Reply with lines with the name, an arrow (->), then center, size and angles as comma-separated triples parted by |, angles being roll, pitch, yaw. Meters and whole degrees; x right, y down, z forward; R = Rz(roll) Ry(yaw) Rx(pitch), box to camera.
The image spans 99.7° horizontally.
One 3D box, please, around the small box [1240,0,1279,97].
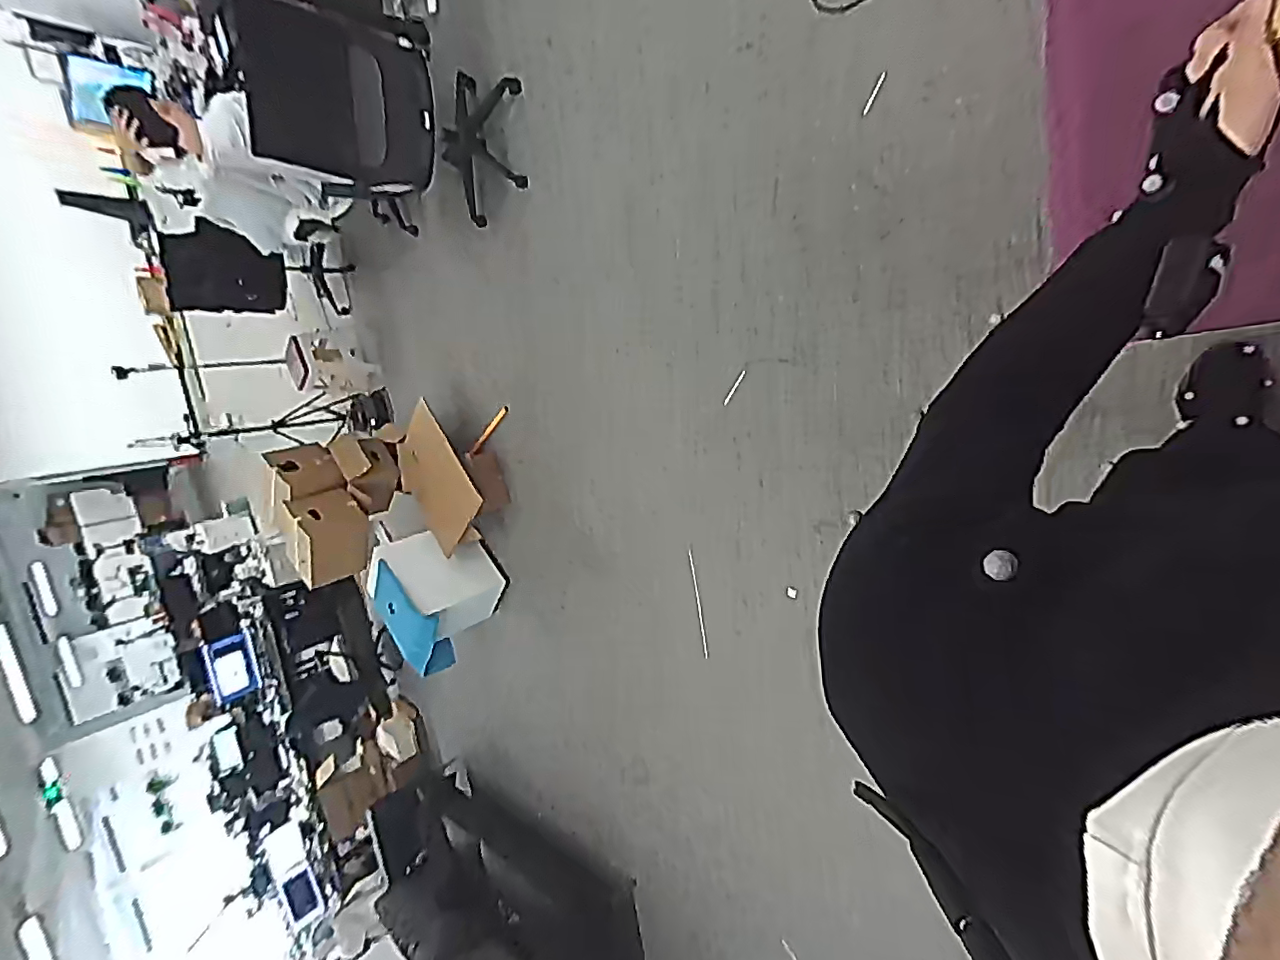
small box -> 0.528, -0.389, 0.354 | 0.168, 0.176, 0.179 | 6, 102, 44
